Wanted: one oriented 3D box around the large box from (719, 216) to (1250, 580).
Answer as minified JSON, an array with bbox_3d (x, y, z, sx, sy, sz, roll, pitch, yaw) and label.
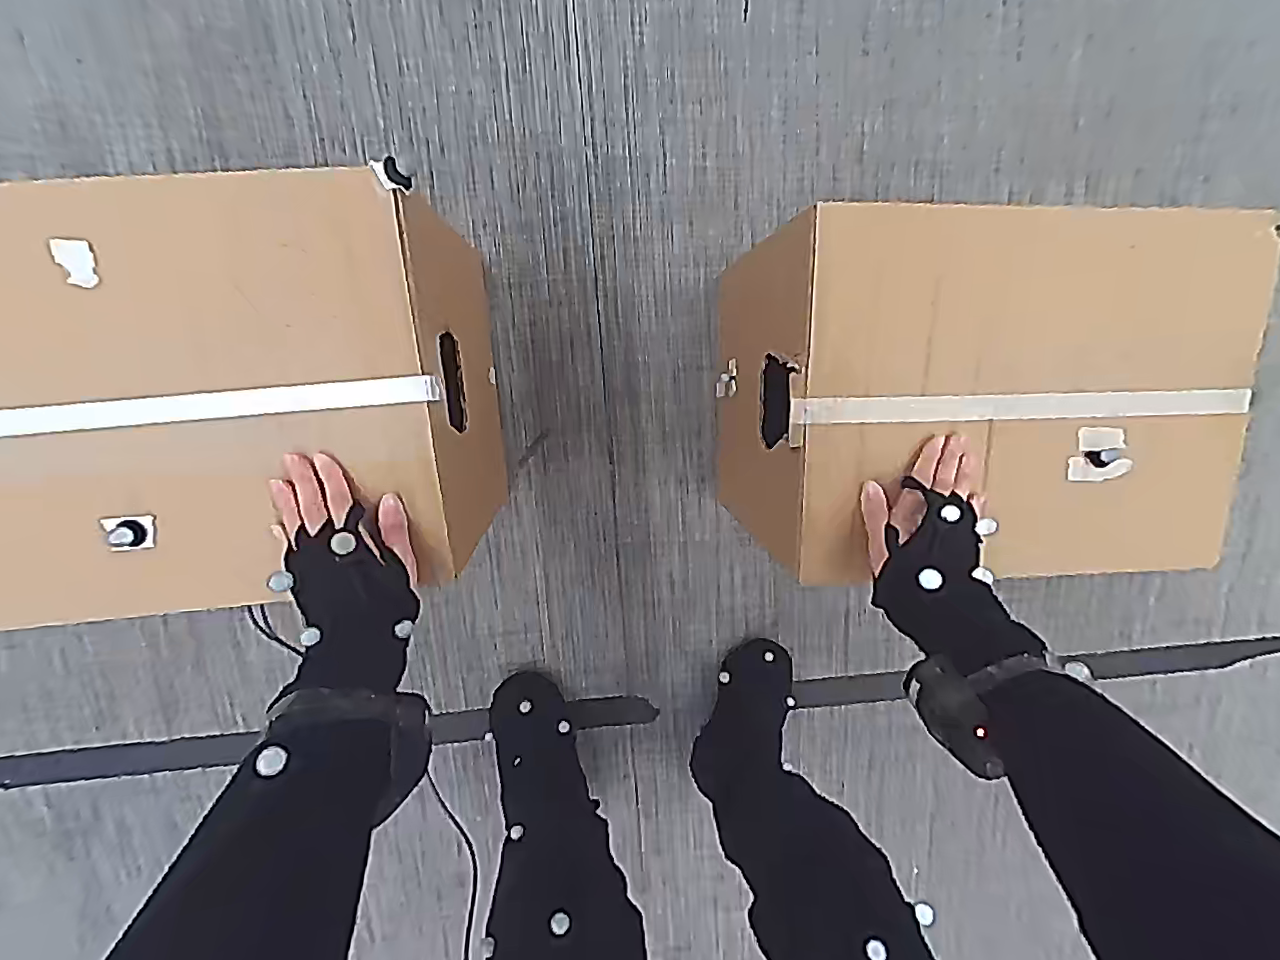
[{"bbox_3d":[0.320,-0.095,0.623,0.408,0.320,0.320,-2,102,-6],"label":"large box"}]
